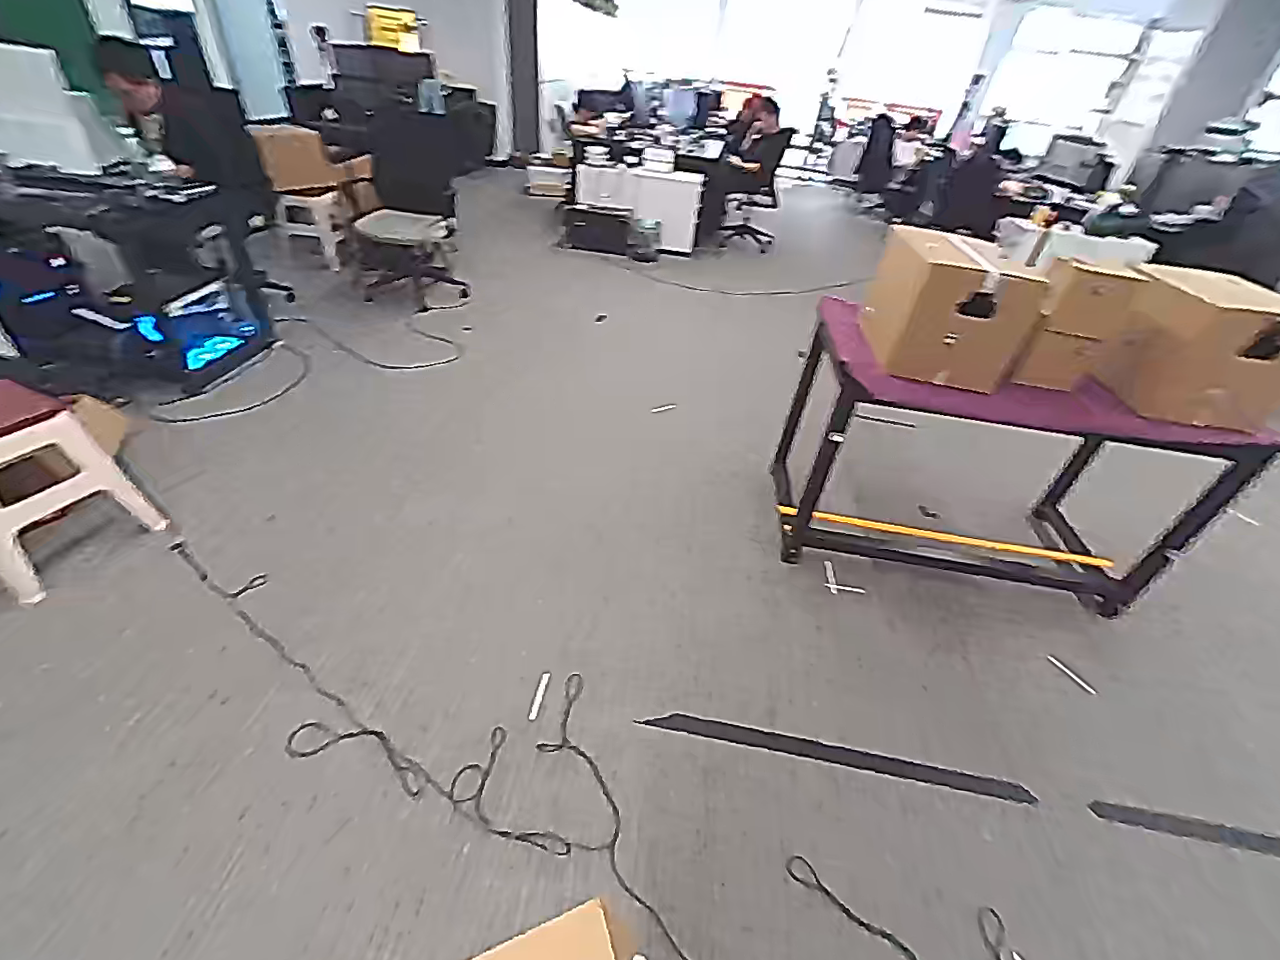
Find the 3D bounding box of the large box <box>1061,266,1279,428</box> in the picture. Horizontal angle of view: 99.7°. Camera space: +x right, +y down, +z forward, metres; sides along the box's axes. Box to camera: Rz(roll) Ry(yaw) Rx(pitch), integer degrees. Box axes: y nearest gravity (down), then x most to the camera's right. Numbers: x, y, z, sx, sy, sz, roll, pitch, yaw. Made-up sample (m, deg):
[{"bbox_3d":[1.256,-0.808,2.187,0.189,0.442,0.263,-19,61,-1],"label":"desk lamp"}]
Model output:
[{"bbox_3d":[1.541,-0.390,1.557,0.320,0.320,0.408,9,36,2],"label":"large box"}]
